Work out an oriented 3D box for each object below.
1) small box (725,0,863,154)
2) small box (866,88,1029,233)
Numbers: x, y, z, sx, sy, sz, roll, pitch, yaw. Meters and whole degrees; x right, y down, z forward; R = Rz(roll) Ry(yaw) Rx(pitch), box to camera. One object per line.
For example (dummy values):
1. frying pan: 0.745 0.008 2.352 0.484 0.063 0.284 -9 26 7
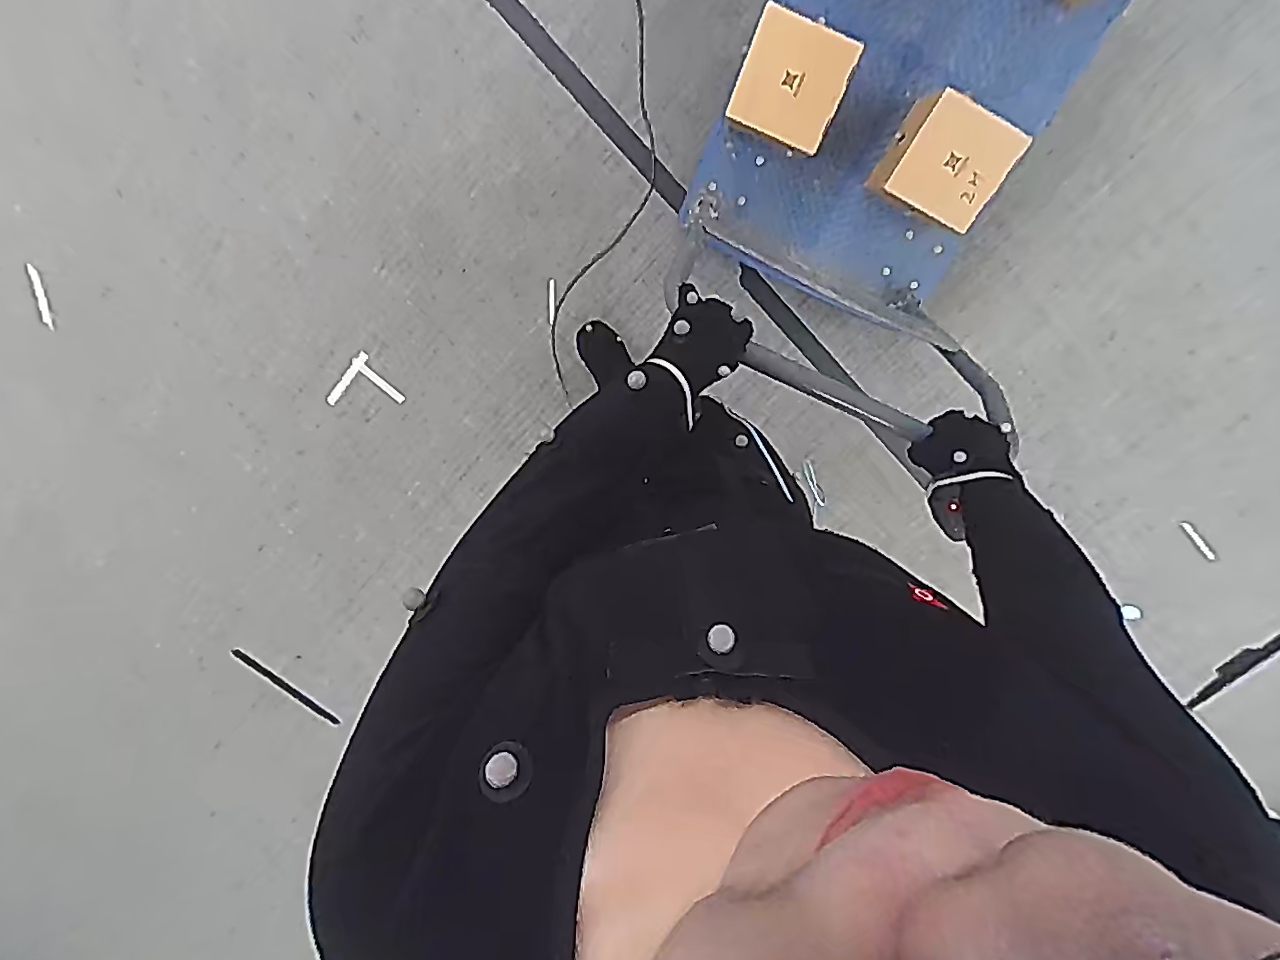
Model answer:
1. small box: 0.263 -0.708 0.975 0.179 0.176 0.168 21 120 -5
2. small box: 0.552 -0.582 1.002 0.179 0.176 0.168 27 120 -7
